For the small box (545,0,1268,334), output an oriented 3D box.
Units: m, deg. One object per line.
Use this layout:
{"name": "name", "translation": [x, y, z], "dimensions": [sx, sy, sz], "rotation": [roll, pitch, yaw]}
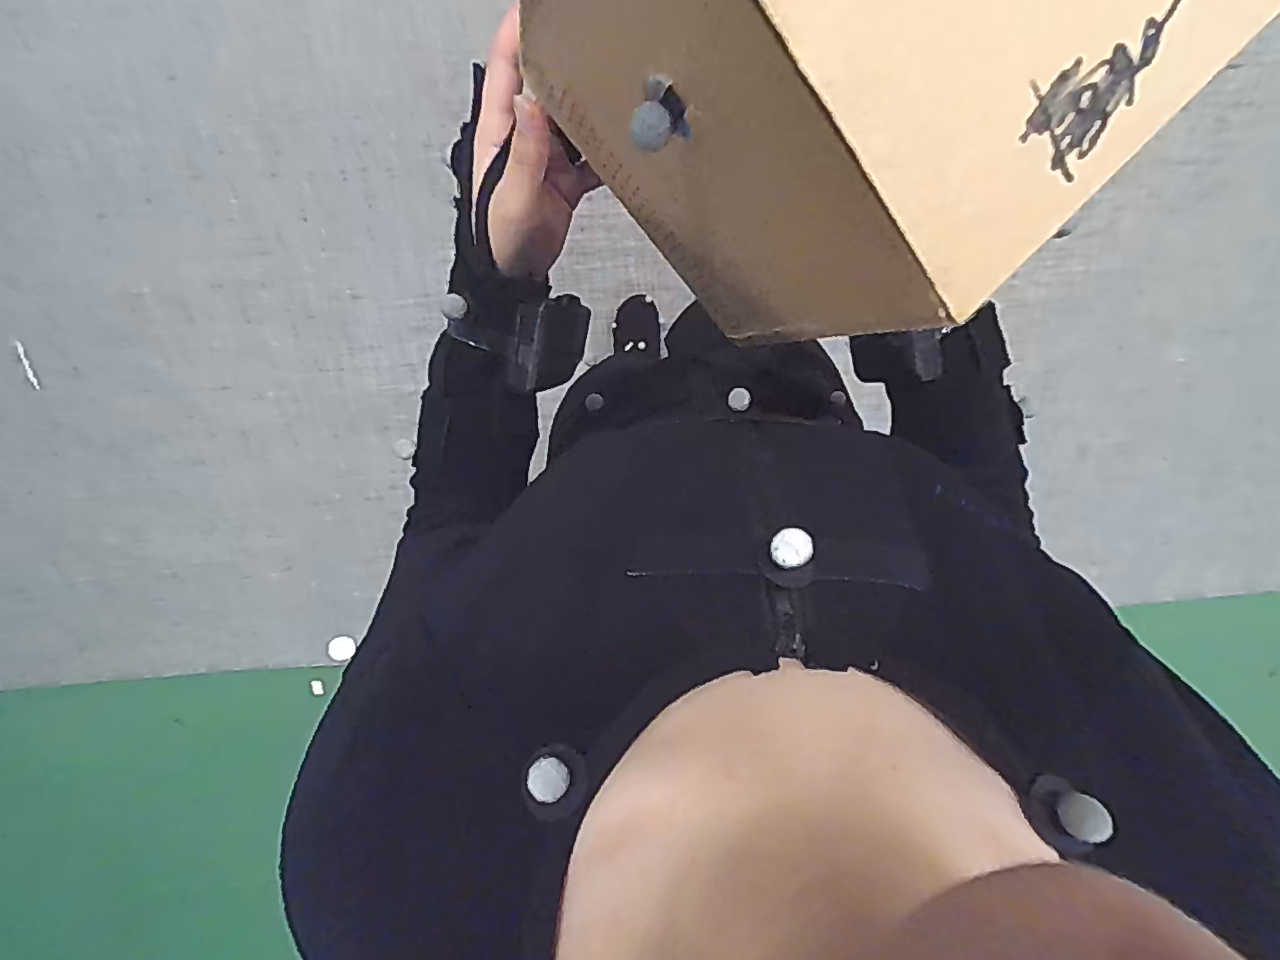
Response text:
{"name": "small box", "translation": [0.075, -0.178, 0.219], "dimensions": [0.168, 0.176, 0.179], "rotation": [-45, 106, 0]}
